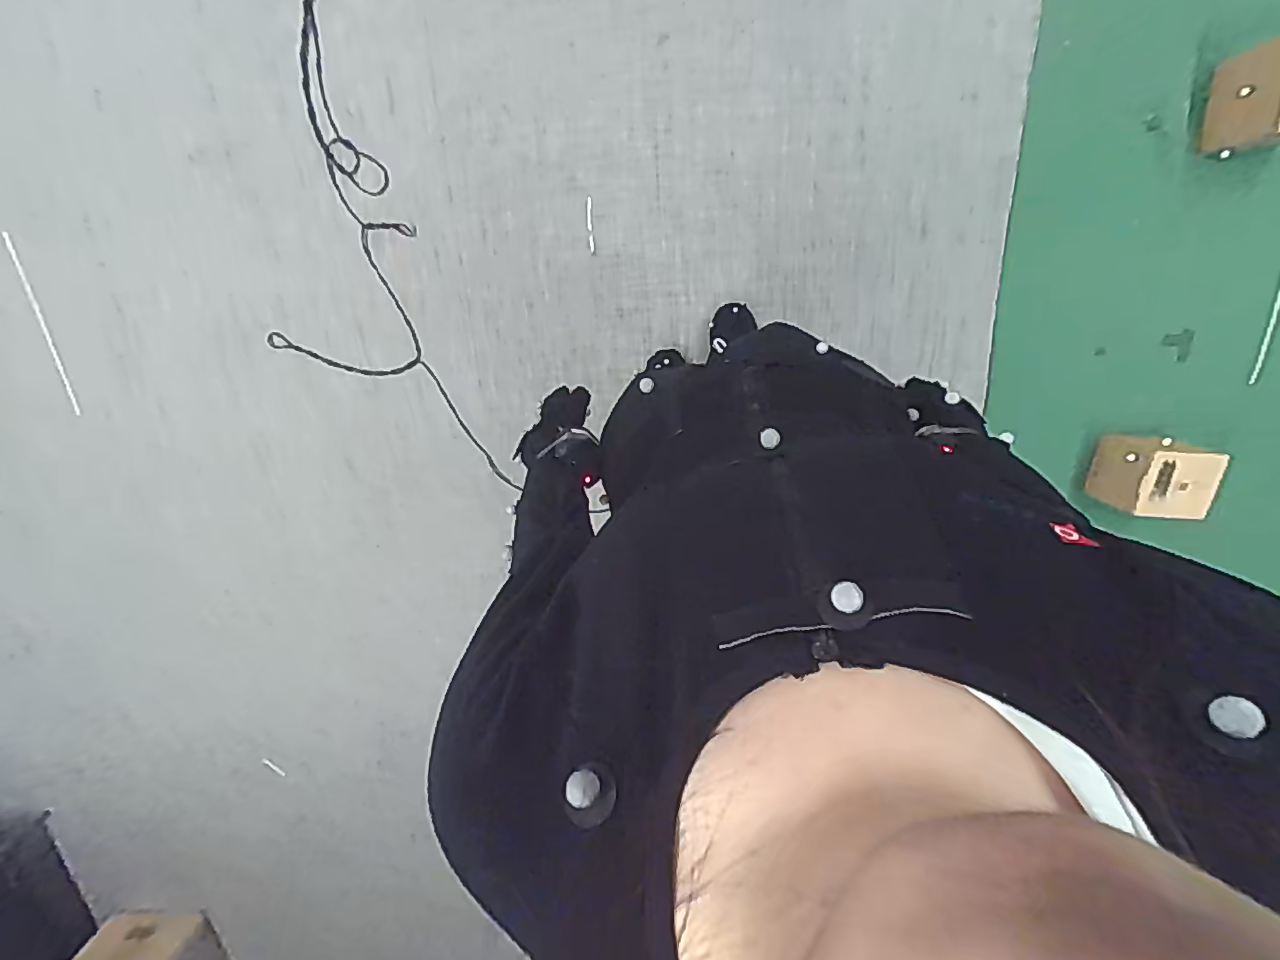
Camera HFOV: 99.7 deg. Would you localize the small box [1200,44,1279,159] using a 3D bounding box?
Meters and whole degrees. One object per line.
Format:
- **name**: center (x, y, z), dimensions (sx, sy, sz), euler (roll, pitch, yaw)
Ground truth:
- **small box**: center (1.319, -0.778, 1.108), dimensions (0.168, 0.176, 0.179), euler (-5, 106, 4)
